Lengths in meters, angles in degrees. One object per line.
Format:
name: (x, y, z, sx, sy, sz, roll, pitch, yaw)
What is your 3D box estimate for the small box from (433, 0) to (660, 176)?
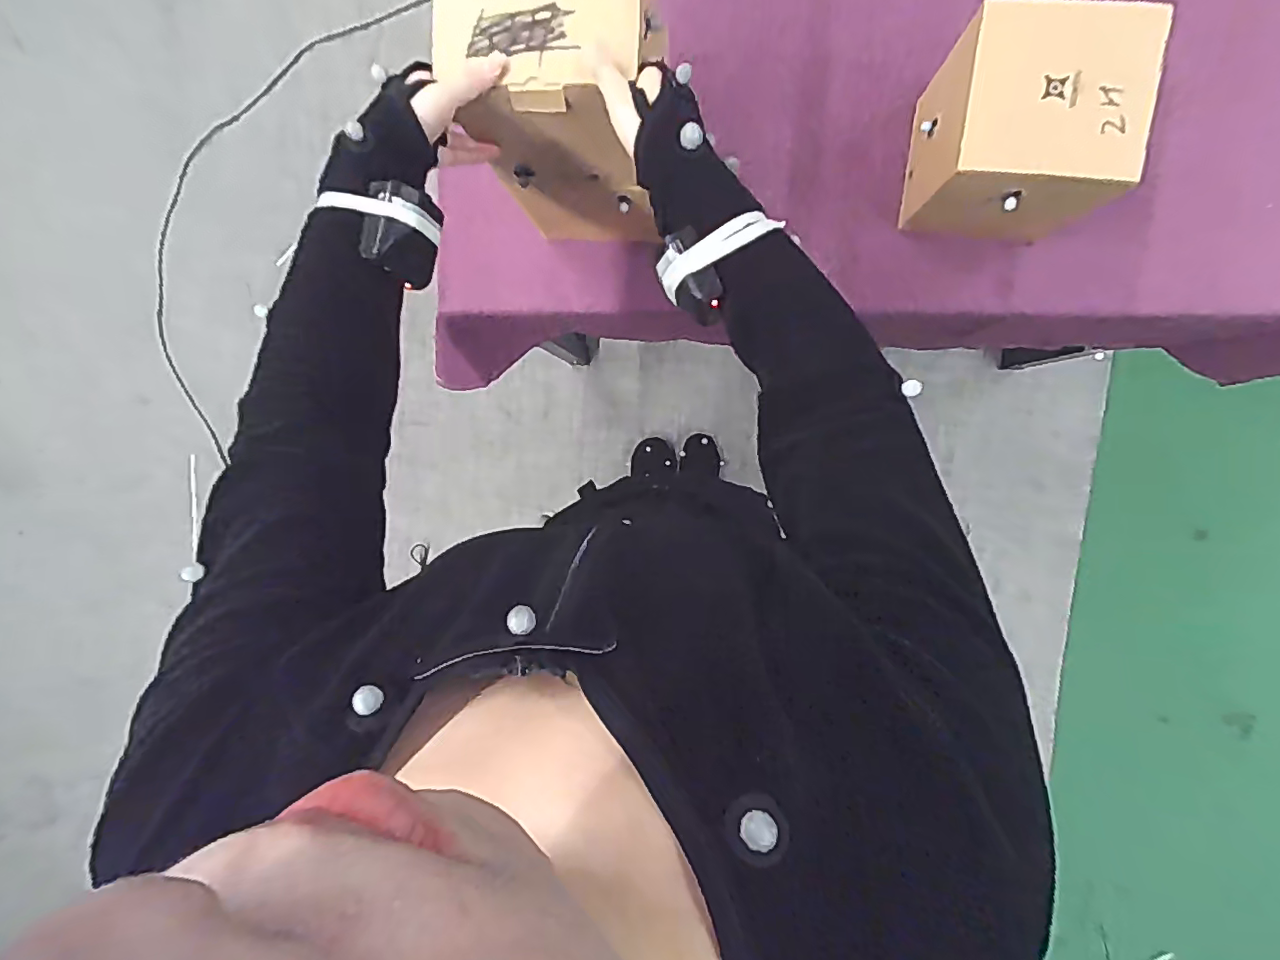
small box: (-0.071, -0.403, 0.495, 0.168, 0.176, 0.179, 3, 94, 5)

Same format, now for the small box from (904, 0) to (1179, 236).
small box: (0.422, -0.390, 0.605, 0.179, 0.176, 0.168, 8, 97, 6)

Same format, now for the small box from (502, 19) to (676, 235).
small box: (-0.052, -0.413, 0.659, 0.179, 0.176, 0.168, 4, 95, 5)
